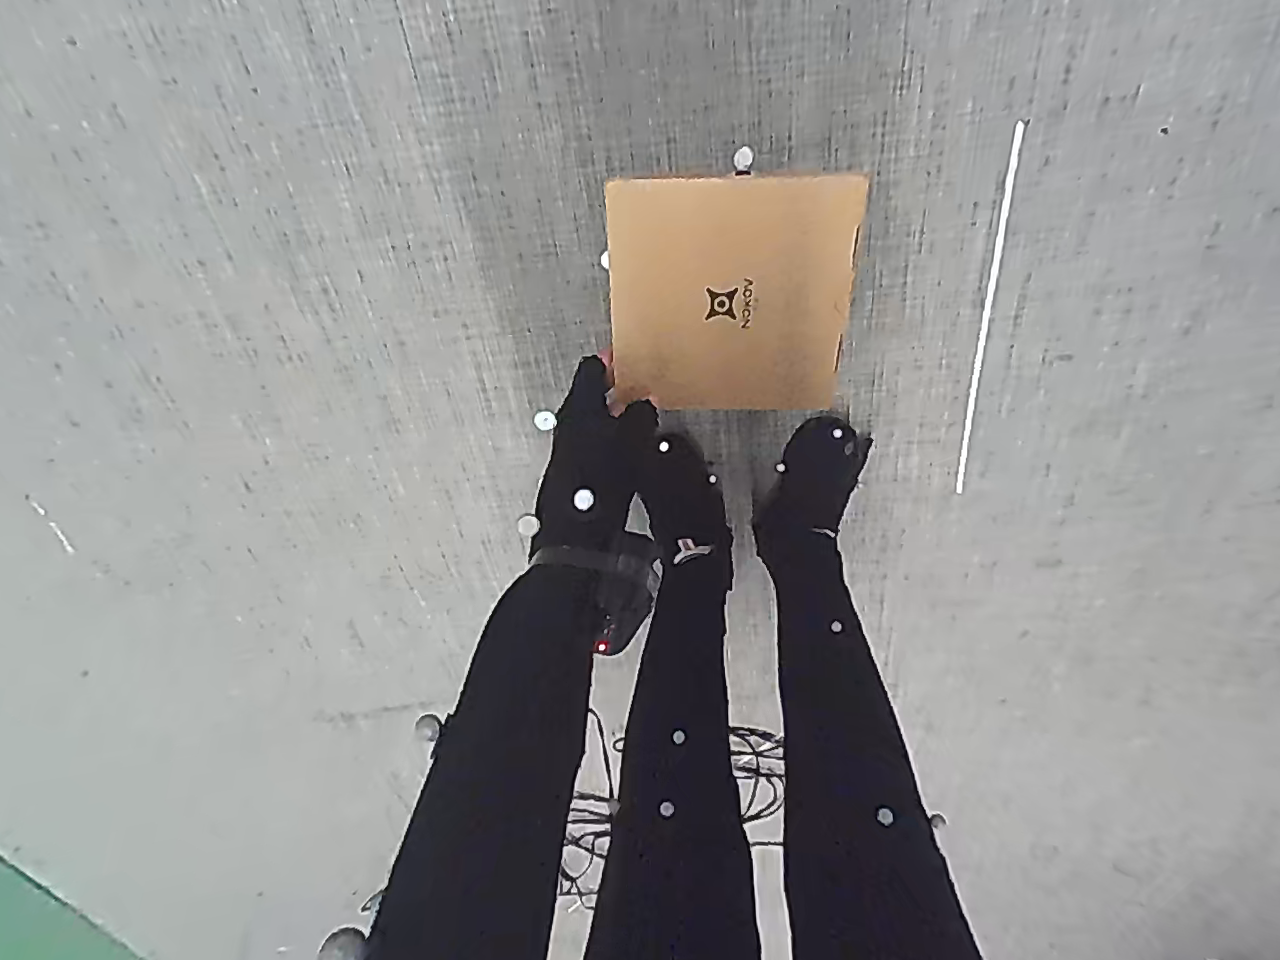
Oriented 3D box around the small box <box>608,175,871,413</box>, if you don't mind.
[{"bbox_3d":[0.071,-0.165,0.465,0.179,0.176,0.168,0,119,3],"label":"small box"}]
